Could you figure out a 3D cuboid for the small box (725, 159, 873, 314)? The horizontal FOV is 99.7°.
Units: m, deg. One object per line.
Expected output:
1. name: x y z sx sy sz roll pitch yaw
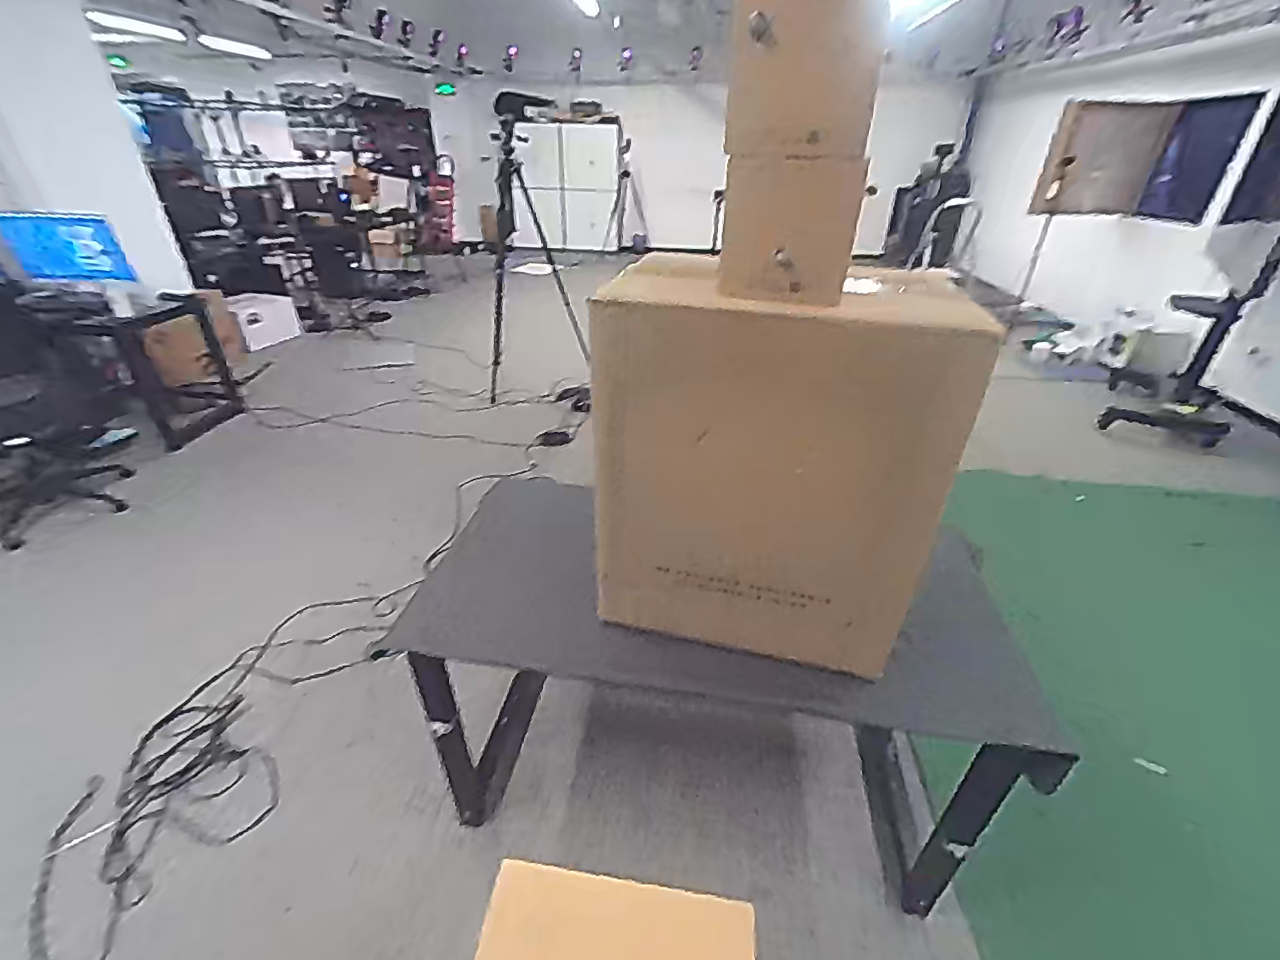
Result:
1. small box: 0.222 -0.348 0.763 0.168 0.176 0.179 12 35 16
